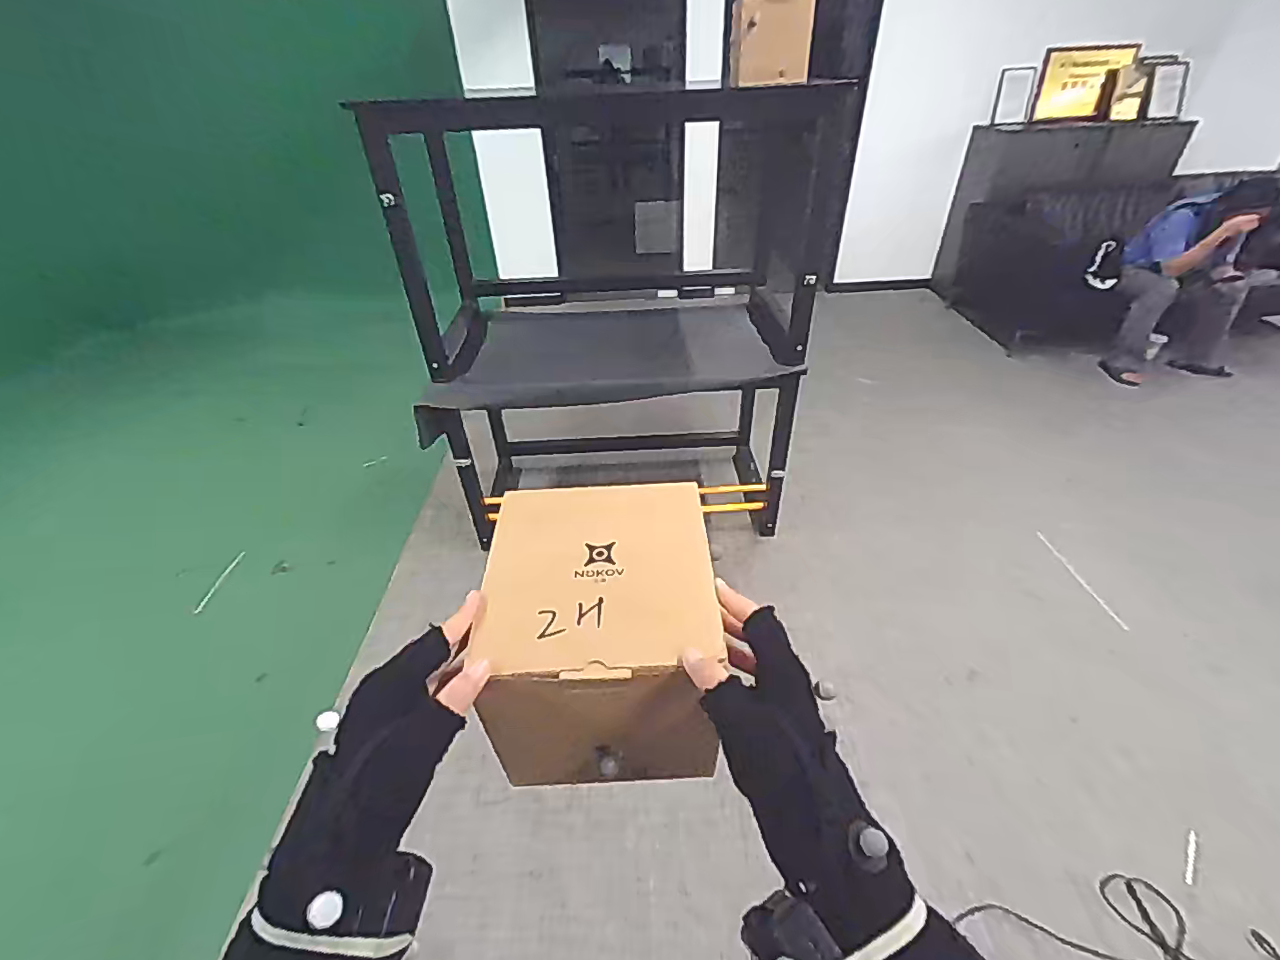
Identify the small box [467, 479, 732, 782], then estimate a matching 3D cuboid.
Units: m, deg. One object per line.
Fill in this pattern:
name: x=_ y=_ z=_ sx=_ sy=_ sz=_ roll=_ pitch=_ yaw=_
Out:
small box: x=-0.024 y=0.118 z=0.442 sx=0.168 sy=0.176 sz=0.179 roll=-3 pitch=40 yaw=1
